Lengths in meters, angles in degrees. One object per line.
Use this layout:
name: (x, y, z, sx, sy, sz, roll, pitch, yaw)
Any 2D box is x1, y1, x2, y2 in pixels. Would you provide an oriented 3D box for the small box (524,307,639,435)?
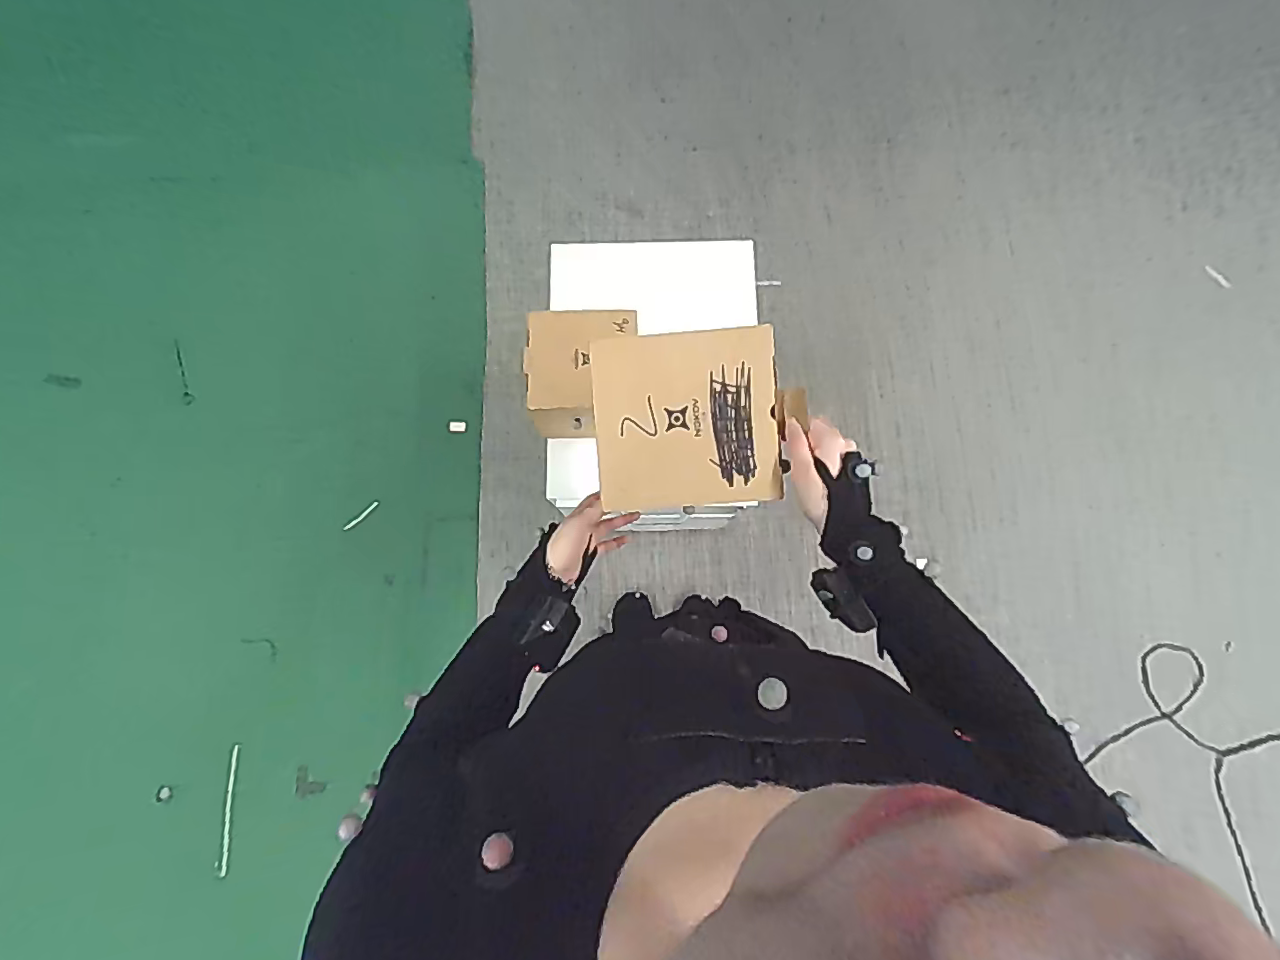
small box: (-0.091, -0.176, 0.914, 0.179, 0.176, 0.168, -1, 79, -1)
